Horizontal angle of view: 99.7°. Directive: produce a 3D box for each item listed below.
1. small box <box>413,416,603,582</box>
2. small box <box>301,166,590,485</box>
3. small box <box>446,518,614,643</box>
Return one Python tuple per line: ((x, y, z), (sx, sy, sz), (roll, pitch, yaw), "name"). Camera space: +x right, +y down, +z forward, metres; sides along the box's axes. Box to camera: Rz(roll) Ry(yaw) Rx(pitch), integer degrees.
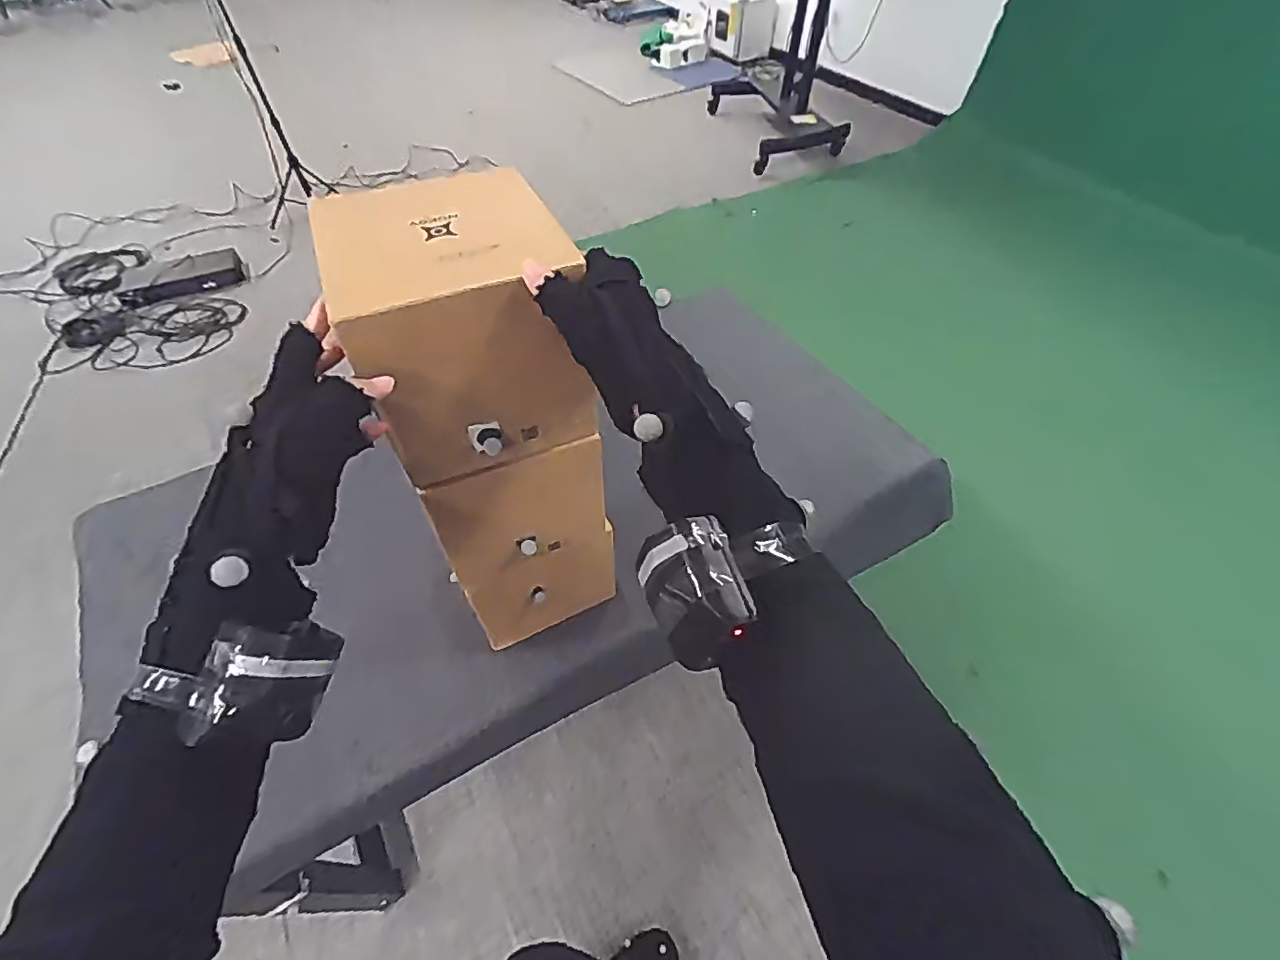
((-0.149, -0.025, 0.576), (0.168, 0.176, 0.179), (-22, 53, -17), "small box")
((-0.151, -0.127, 0.449), (0.168, 0.176, 0.179), (-21, 55, -15), "small box")
((-0.146, 0.082, 0.702), (0.179, 0.176, 0.168), (-23, 55, -16), "small box")
